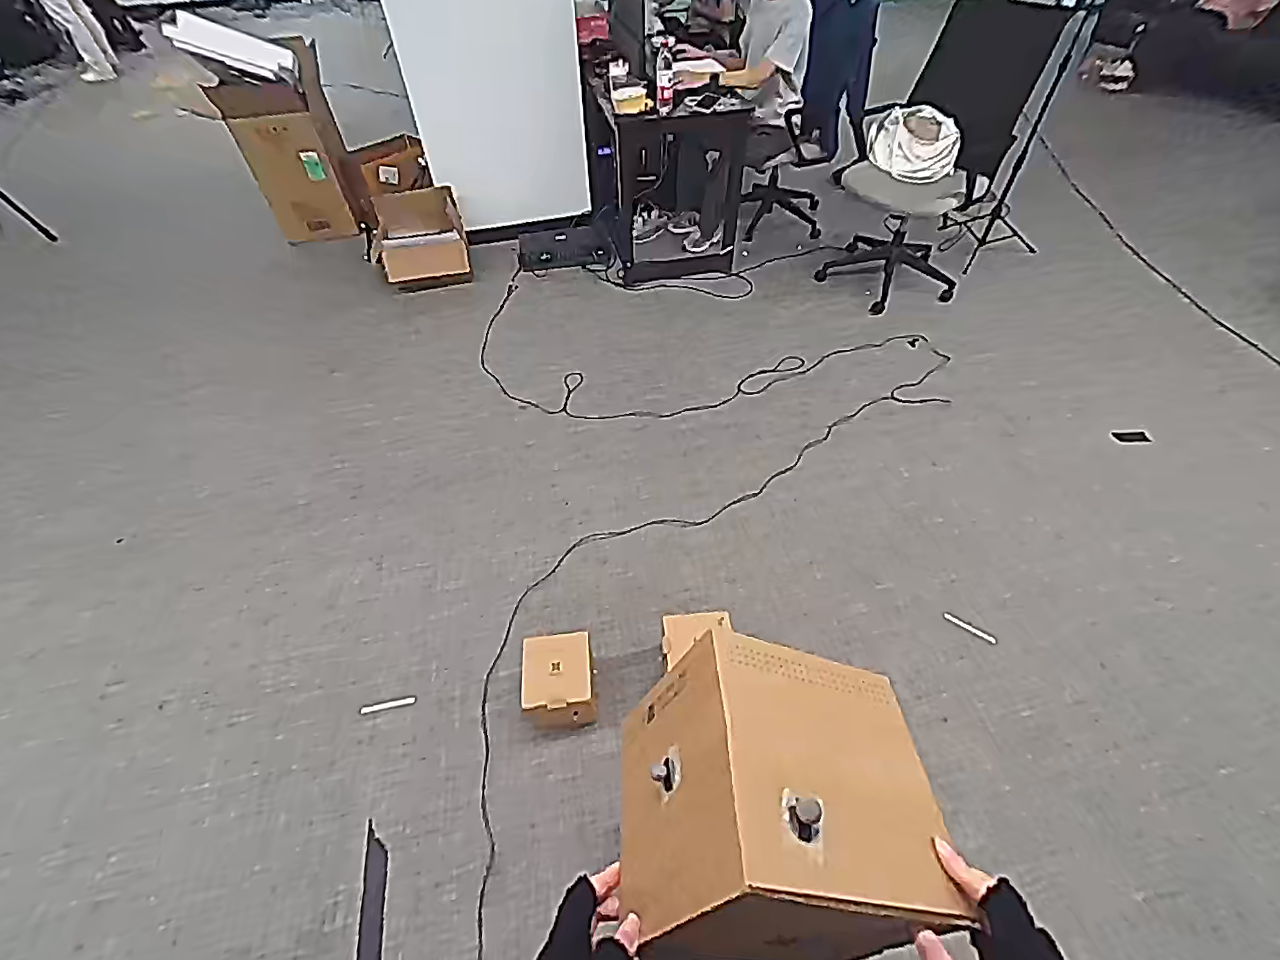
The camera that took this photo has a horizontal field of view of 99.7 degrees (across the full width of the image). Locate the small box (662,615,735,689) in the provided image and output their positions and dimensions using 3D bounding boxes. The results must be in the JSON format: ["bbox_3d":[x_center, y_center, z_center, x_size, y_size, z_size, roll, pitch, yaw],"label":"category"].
[{"bbox_3d":[0.153,0.469,1.405,0.179,0.176,0.168,-4,50,-1],"label":"small box"}]

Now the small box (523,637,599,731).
[{"bbox_3d":[-0.196,0.523,1.373,0.168,0.176,0.179,-5,49,-3],"label":"small box"}]

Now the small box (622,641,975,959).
[{"bbox_3d":[0.097,0.250,0.420,0.179,0.168,0.176,20,37,-16],"label":"small box"}]
